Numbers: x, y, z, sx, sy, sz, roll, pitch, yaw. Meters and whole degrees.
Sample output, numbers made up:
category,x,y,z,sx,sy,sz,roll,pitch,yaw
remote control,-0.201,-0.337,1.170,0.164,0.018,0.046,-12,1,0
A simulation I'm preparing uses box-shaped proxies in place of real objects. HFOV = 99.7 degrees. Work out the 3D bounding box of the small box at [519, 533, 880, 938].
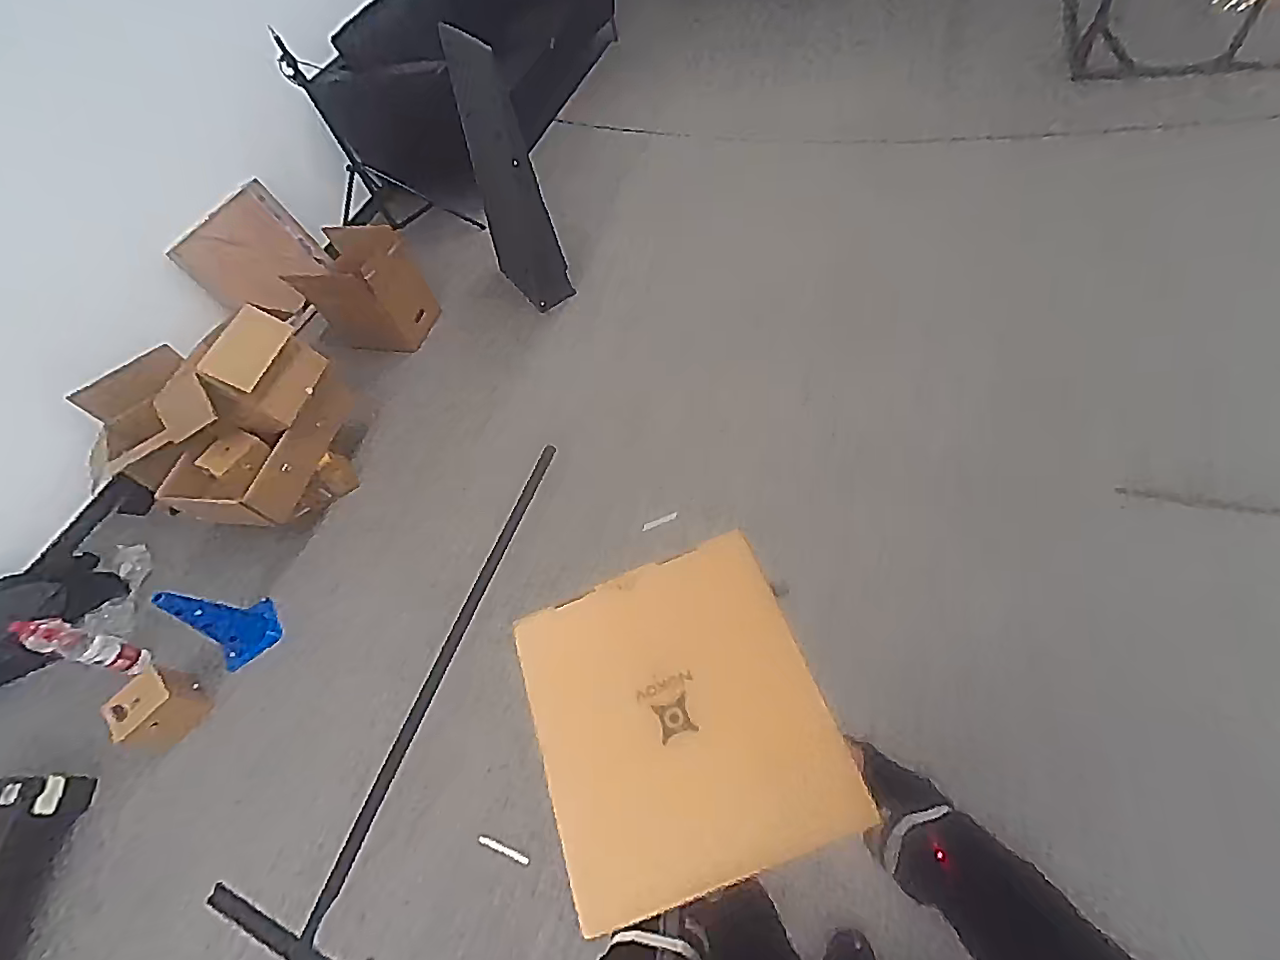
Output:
category,x,y,z,sx,sy,sz,roll,pitch,yaw
small box,0.039,0.169,0.383,0.168,0.176,0.179,-23,60,1
